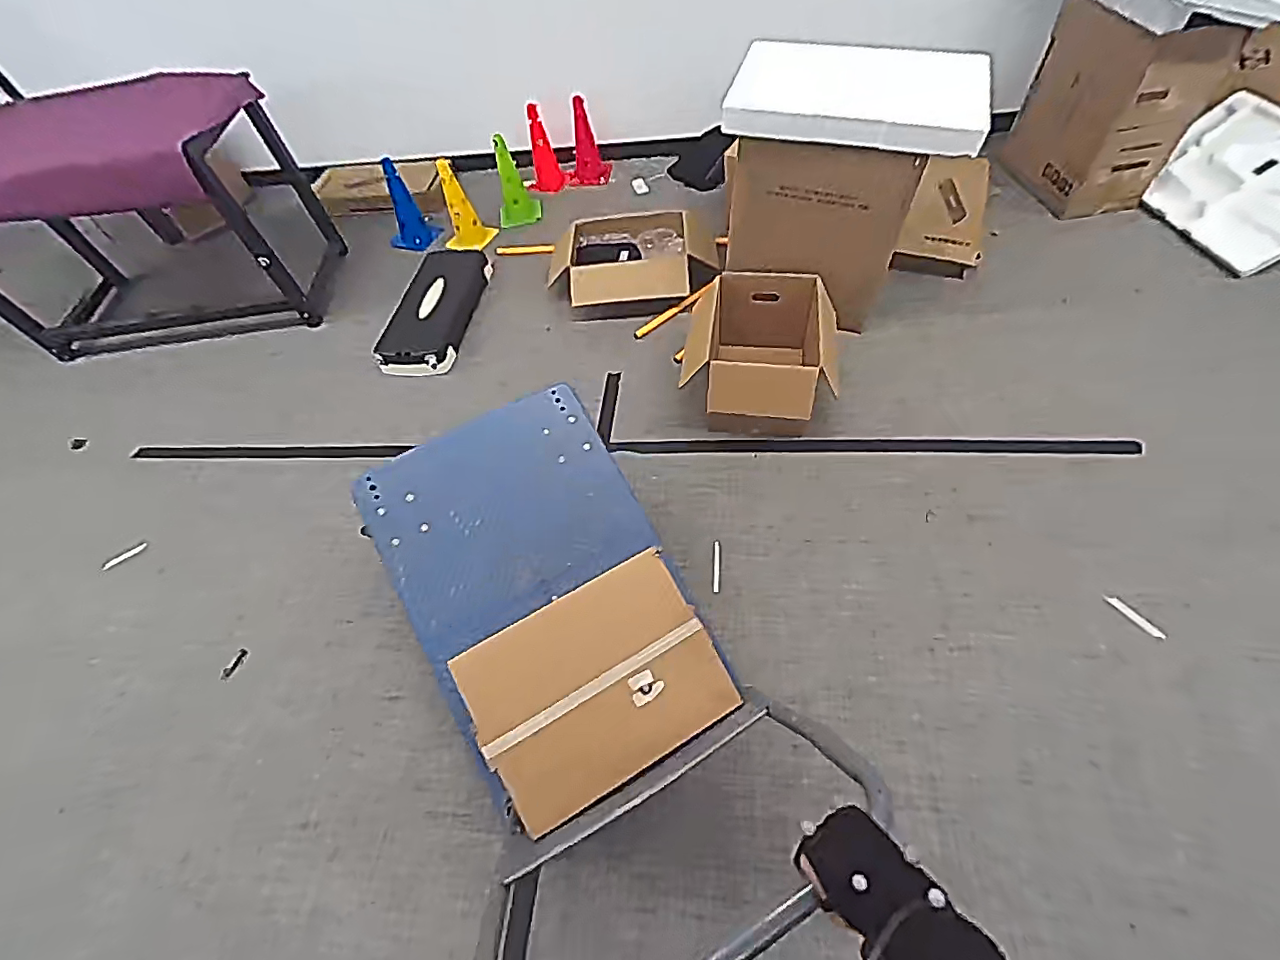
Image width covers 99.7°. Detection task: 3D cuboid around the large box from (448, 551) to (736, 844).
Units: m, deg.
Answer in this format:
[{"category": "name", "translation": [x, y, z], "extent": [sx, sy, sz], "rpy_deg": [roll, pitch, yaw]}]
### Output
[{"category": "large box", "translation": [-0.095, 0.388, 1.052], "extent": [0.408, 0.320, 0.320], "rpy_deg": [-28, 81, -14]}]
